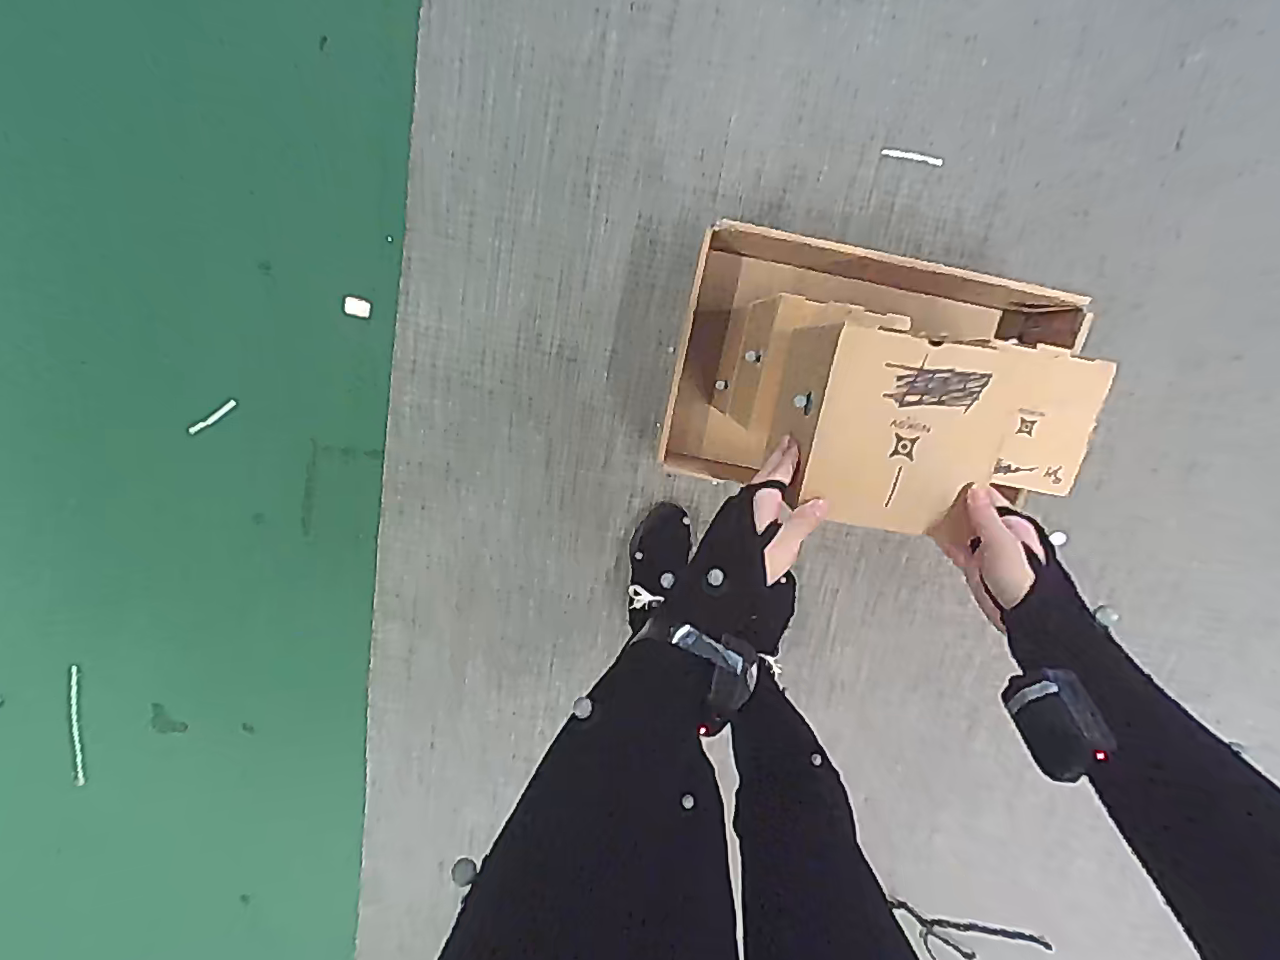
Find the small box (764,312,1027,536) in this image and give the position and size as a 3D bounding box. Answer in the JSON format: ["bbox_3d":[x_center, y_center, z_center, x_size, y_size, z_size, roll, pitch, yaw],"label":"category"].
[{"bbox_3d":[0.235,-0.064,0.550,0.168,0.176,0.179,10,104,-1],"label":"small box"}]

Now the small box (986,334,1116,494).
[{"bbox_3d":[0.491,-0.096,0.756,0.168,0.176,0.179,11,103,0],"label":"small box"}]

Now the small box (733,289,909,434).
[{"bbox_3d":[0.231,-0.150,0.745,0.168,0.176,0.179,10,103,-2],"label":"small box"}]

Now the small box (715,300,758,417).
[{"bbox_3d":[0.227,-0.188,0.902,0.168,0.176,0.179,11,103,-3],"label":"small box"}]
